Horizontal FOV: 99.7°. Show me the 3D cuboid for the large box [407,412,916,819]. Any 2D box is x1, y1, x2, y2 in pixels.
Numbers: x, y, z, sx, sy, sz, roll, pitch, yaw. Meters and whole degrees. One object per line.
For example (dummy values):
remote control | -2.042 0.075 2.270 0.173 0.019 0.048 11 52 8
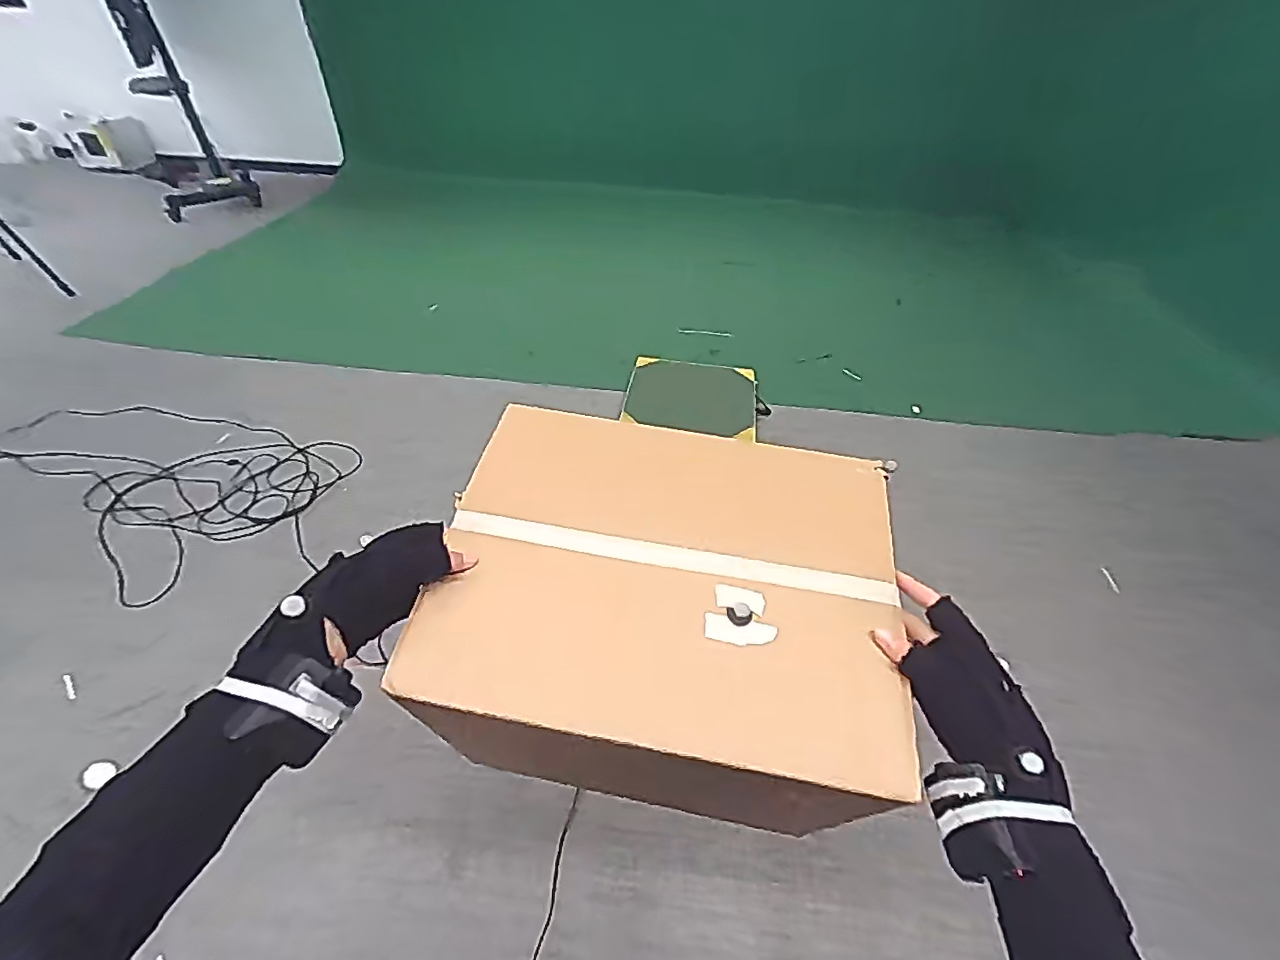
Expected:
large box | 0.025 0.161 0.618 0.408 0.320 0.320 9 54 4
